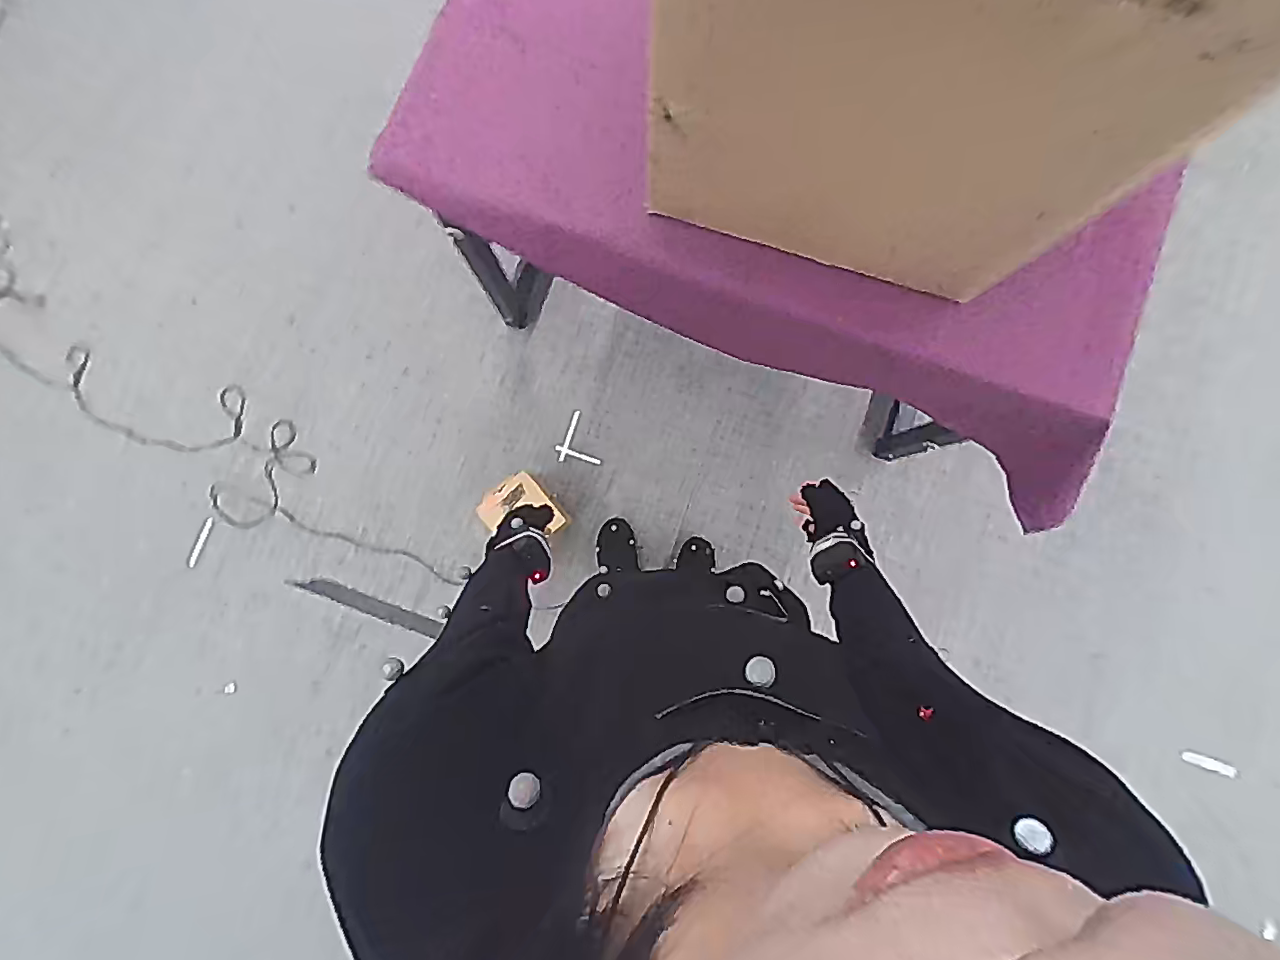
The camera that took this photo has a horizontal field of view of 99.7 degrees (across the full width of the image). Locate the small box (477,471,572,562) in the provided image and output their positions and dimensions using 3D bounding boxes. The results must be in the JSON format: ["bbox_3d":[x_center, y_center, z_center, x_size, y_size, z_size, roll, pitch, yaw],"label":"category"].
[{"bbox_3d":[-0.302,0.100,1.448,0.168,0.176,0.179,-40,87,-3],"label":"small box"}]
